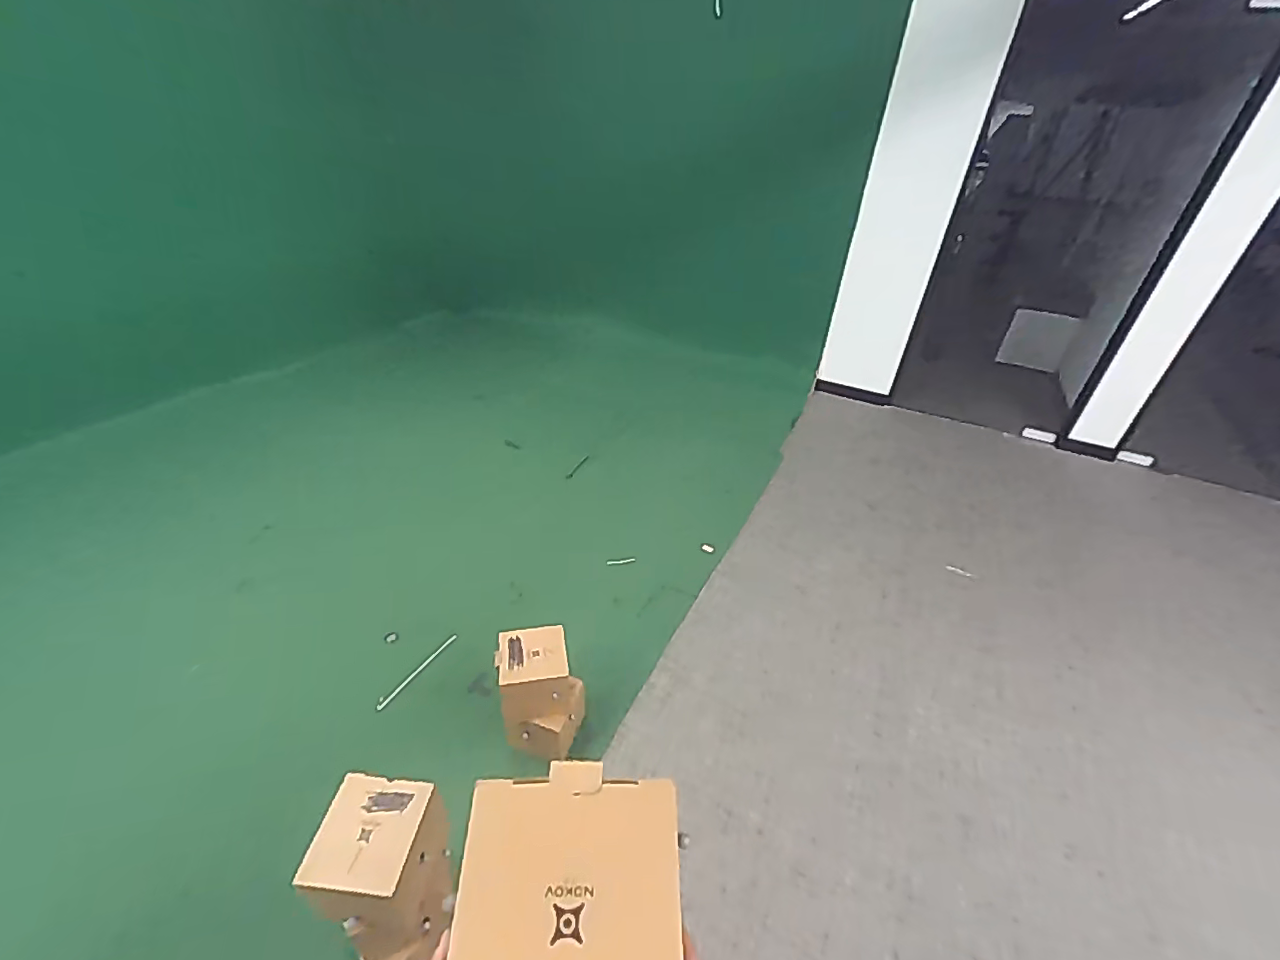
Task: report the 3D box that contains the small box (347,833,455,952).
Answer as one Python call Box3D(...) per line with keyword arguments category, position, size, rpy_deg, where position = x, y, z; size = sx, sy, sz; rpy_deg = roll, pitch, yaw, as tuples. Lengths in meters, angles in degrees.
Box3D(category="small box", position=(-0.468, 0.779, 1.062), size=(0.168, 0.176, 0.179), rpy_deg=(-11, 38, -23))

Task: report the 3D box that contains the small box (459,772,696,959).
Box3D(category="small box", position=(-0.046, 0.358, 0.449), size=(0.168, 0.176, 0.179), rpy_deg=(2, 49, -4))

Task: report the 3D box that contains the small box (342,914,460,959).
Box3D(category="small box", position=(-0.498, 0.924, 1.134), size=(0.179, 0.176, 0.168), rpy_deg=(31, 43, 33))

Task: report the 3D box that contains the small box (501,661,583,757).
Box3D(category="small box", position=(-0.273, 0.653, 1.538), size=(0.179, 0.176, 0.168), rpy_deg=(13, 36, 14))

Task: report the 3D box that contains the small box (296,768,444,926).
Box3D(category="small box", position=(-0.462, 0.649, 0.960), size=(0.168, 0.176, 0.179), rpy_deg=(6, 36, 1))
